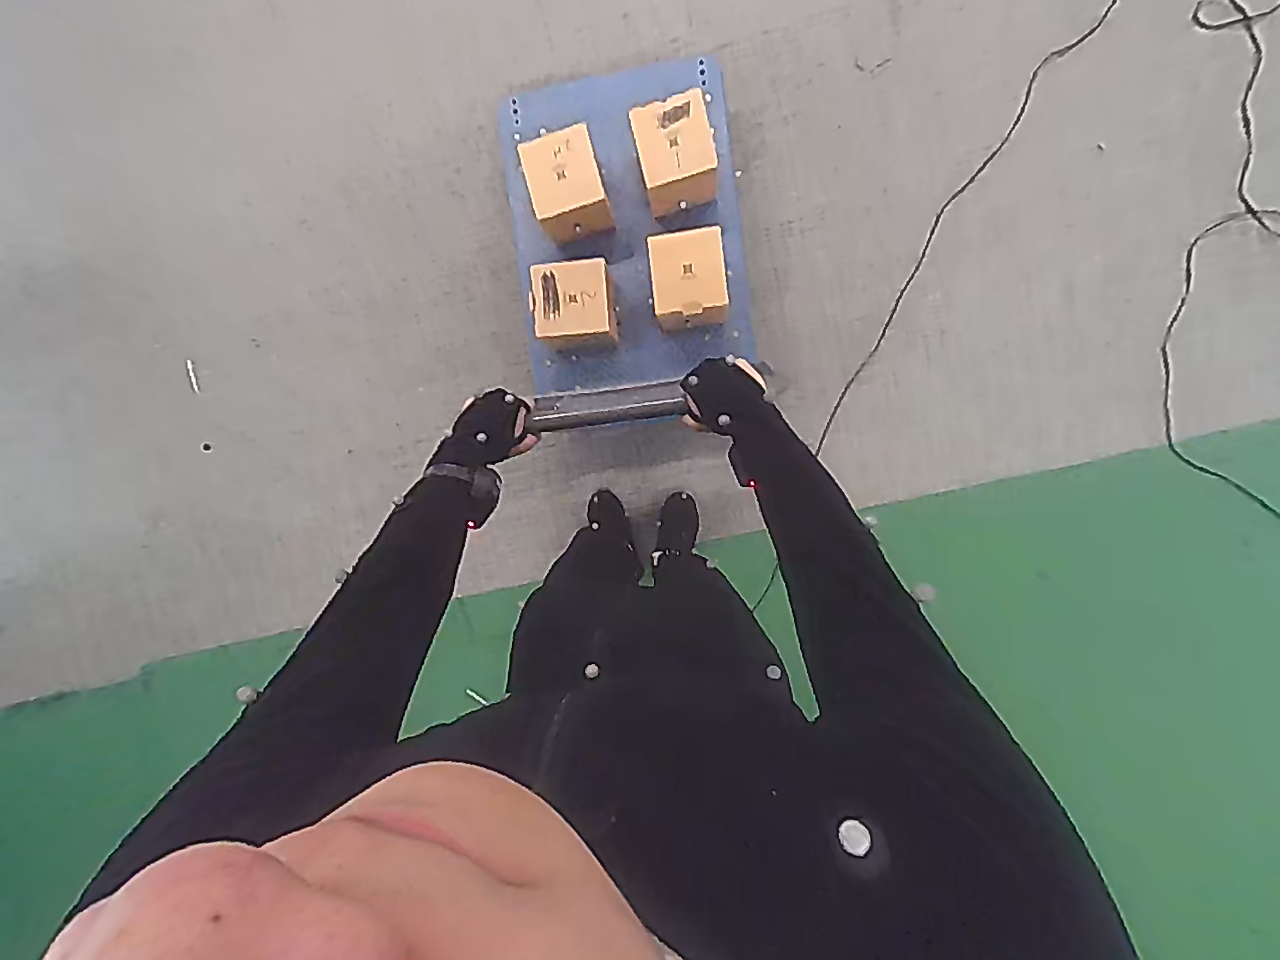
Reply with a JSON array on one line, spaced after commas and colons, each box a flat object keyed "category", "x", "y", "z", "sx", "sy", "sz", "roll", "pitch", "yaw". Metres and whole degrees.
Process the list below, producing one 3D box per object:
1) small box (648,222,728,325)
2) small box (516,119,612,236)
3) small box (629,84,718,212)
[{"category": "small box", "x": 0.112, "y": -0.480, "z": 1.282, "sx": 0.168, "sy": 0.176, "sz": 0.179, "roll": -7, "pitch": 95, "yaw": 6}, {"category": "small box", "x": -0.173, "y": -0.706, "z": 1.291, "sx": 0.168, "sy": 0.176, "sz": 0.179, "roll": -15, "pitch": 93, "yaw": 6}, {"category": "small box", "x": 0.079, "y": -0.763, "z": 1.261, "sx": 0.168, "sy": 0.176, "sz": 0.179, "roll": -14, "pitch": 94, "yaw": 7}]
